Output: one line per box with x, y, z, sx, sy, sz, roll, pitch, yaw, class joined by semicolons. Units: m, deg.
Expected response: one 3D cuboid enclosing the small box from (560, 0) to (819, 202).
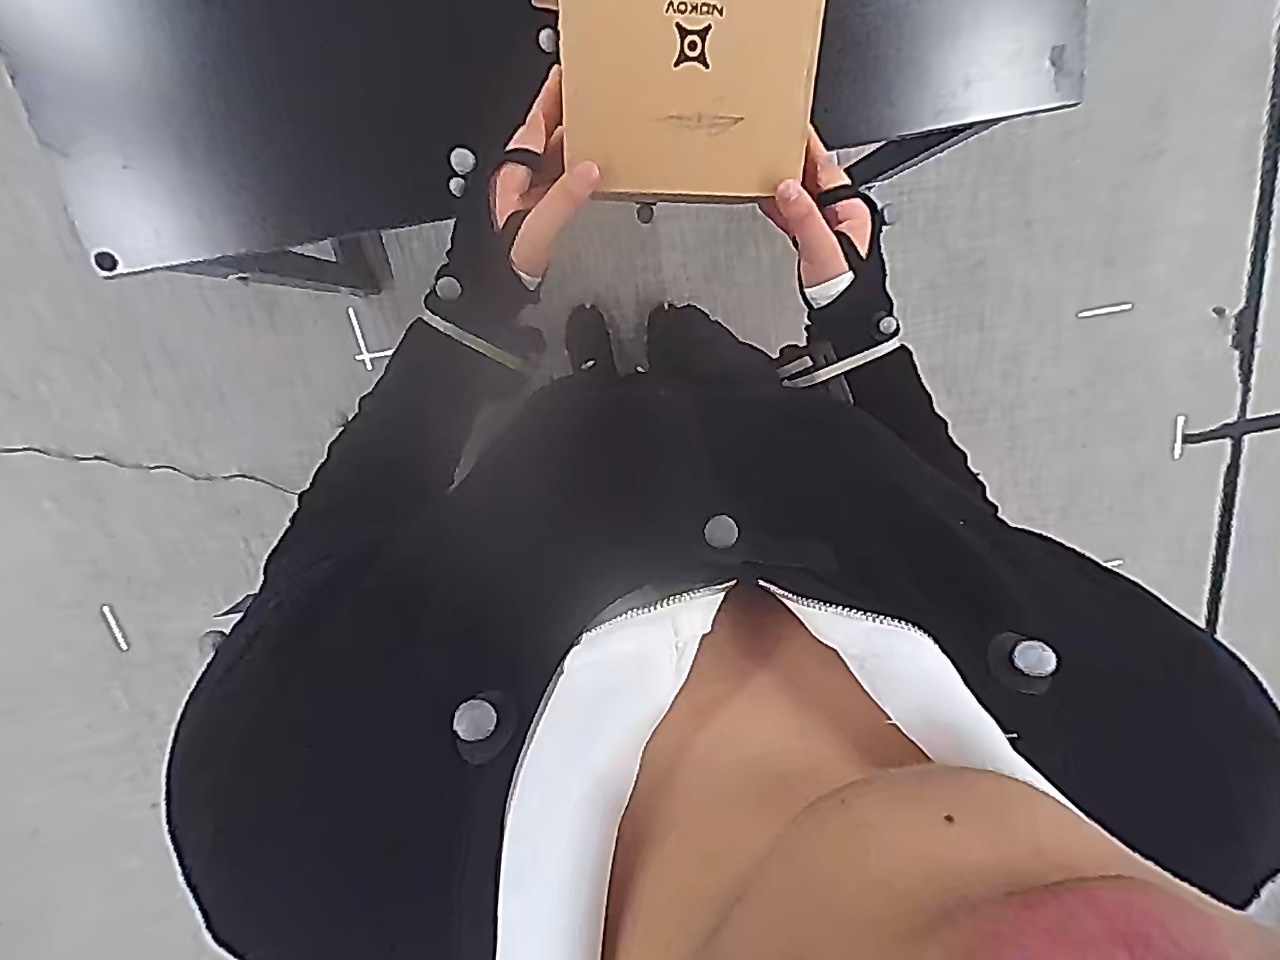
0.023;-0.318;0.415;0.168;0.176;0.179;-1;116;-6;small box
